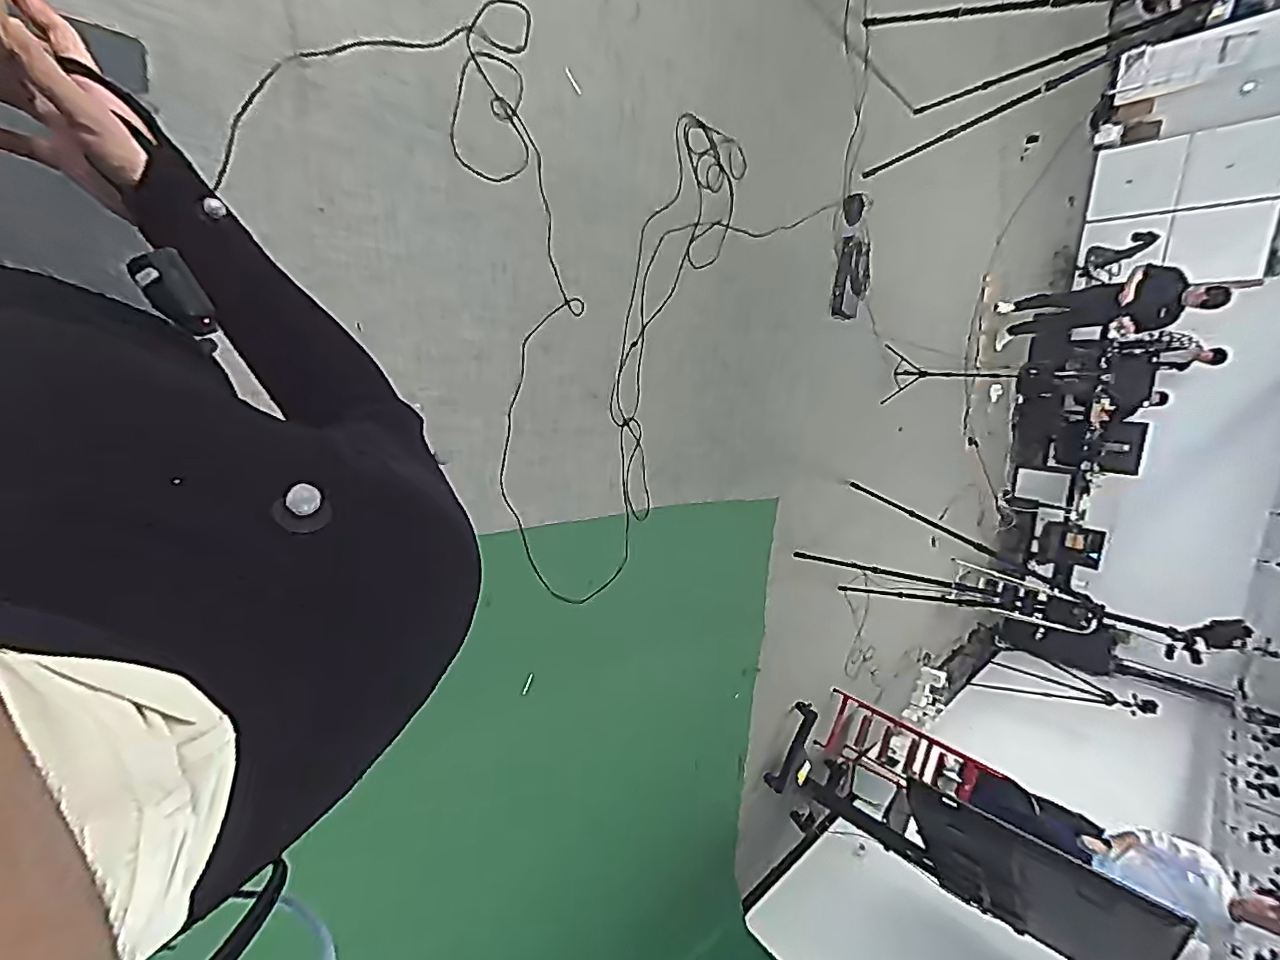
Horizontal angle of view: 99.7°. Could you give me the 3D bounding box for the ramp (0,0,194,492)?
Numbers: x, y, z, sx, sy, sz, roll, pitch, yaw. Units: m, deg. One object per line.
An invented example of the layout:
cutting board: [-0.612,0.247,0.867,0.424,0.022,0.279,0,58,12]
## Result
ramp: [-1.266,-0.474,1.088,0.509,0.206,0.991,-8,105,-41]
